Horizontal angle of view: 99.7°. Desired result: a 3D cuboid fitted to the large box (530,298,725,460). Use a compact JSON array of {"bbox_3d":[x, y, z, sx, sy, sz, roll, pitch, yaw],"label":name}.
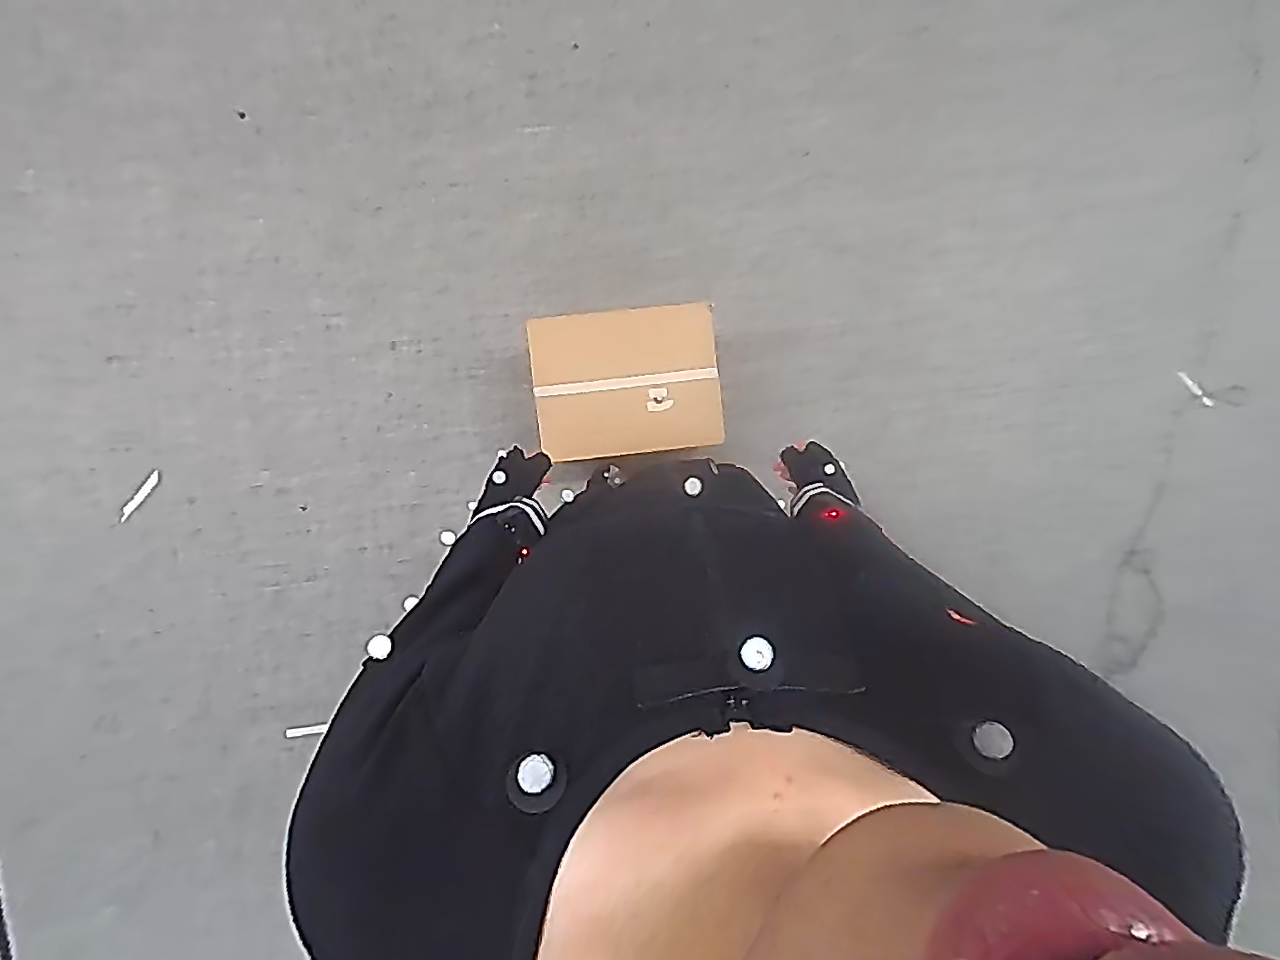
[{"bbox_3d":[-0.032,-0.228,1.329,0.408,0.320,0.320,-7,94,-2],"label":"large box"}]
